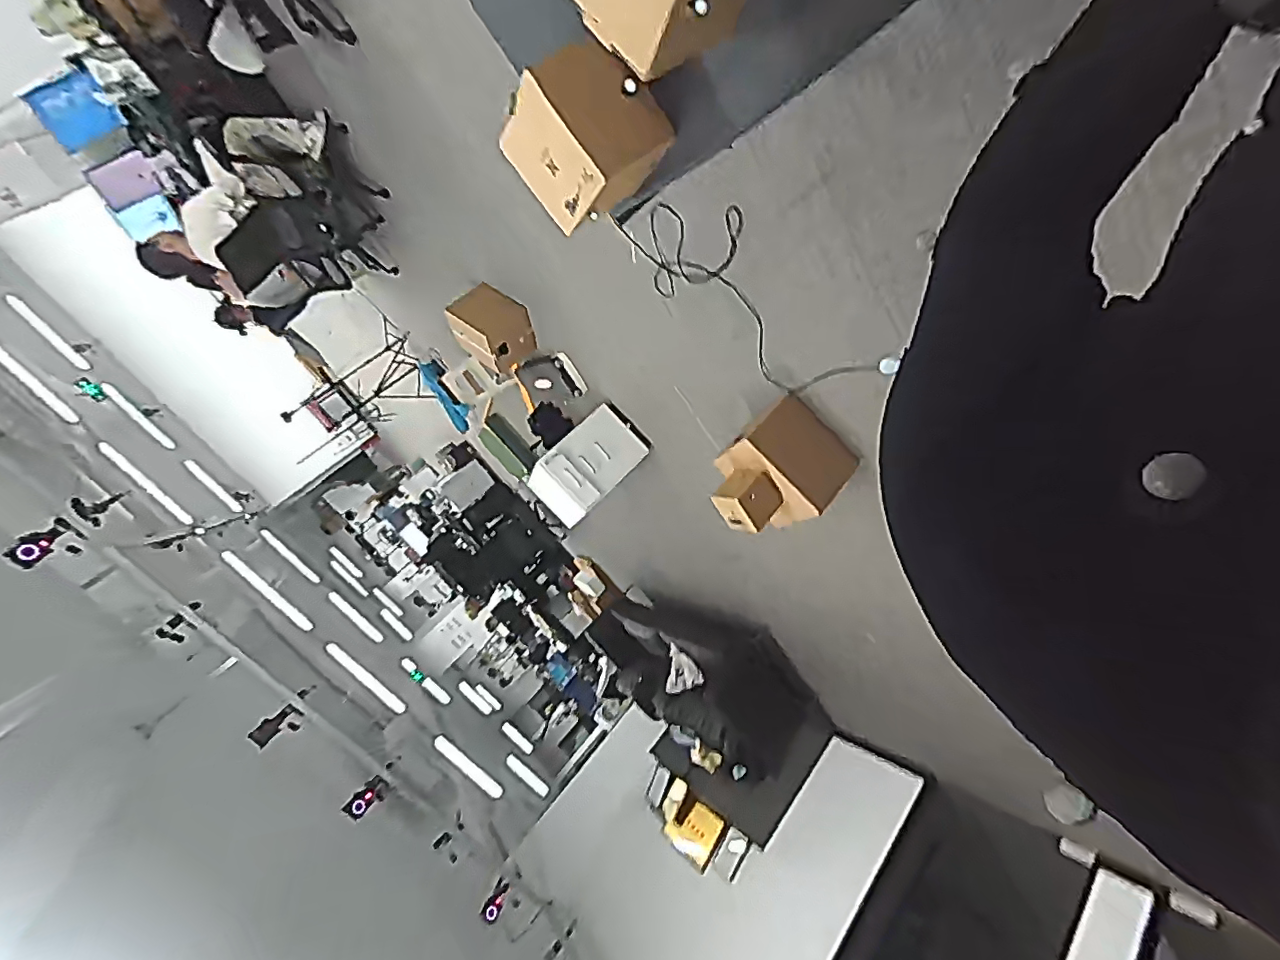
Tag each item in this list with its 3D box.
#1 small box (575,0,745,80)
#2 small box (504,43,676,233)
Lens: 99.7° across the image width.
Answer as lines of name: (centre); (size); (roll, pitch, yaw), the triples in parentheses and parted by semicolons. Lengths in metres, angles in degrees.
small box: (0.033, -0.591, 0.574); (0.168, 0.176, 0.179); (46, 157, -4)
small box: (-0.079, -0.539, 0.852); (0.179, 0.176, 0.168); (51, 157, -14)
